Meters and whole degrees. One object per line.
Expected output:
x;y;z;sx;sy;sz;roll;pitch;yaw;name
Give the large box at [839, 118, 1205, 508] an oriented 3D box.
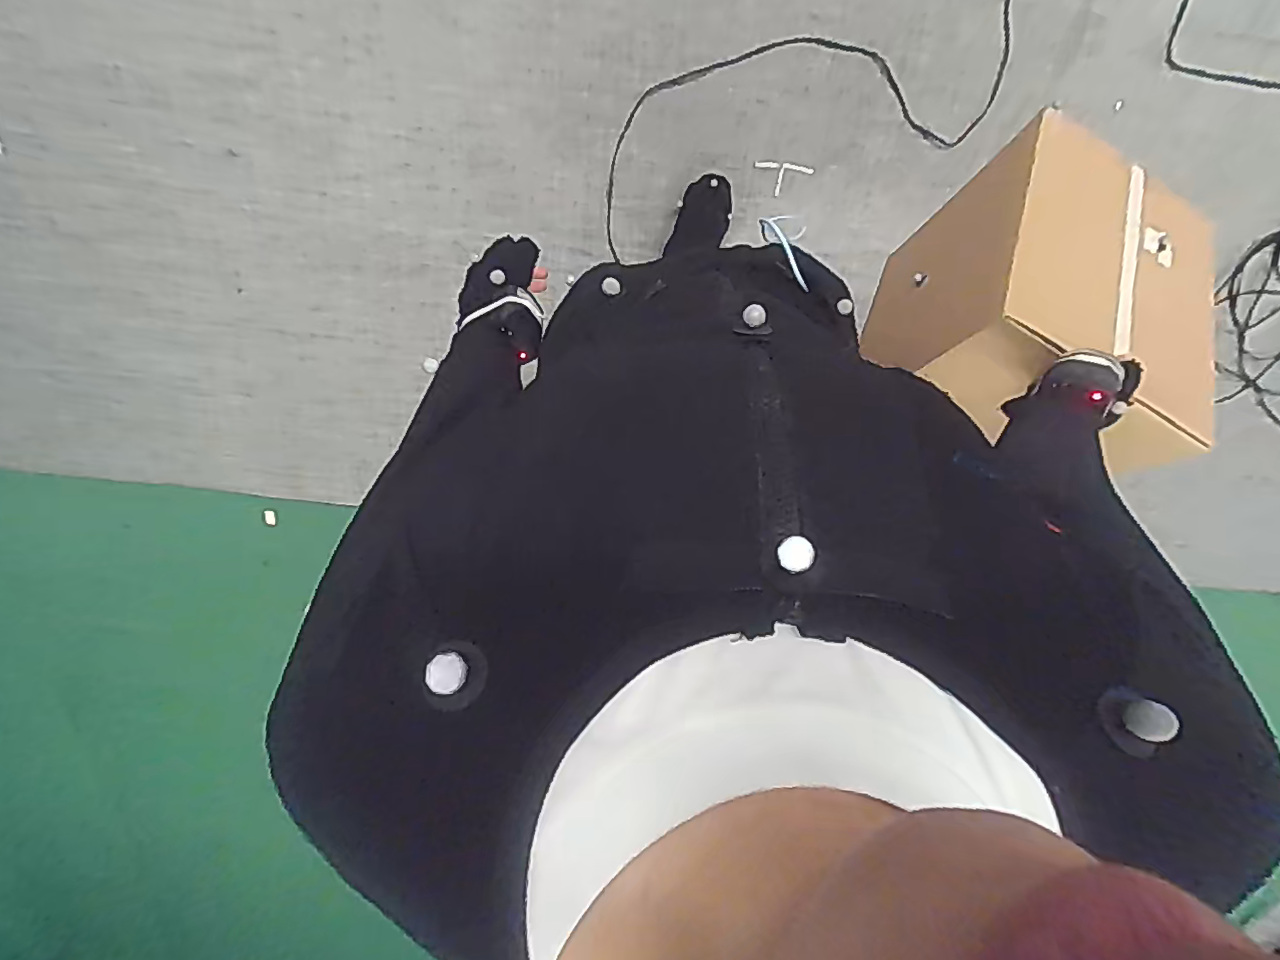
0.563;-0.225;0.828;0.320;0.408;0.320;29;157;-7;large box
